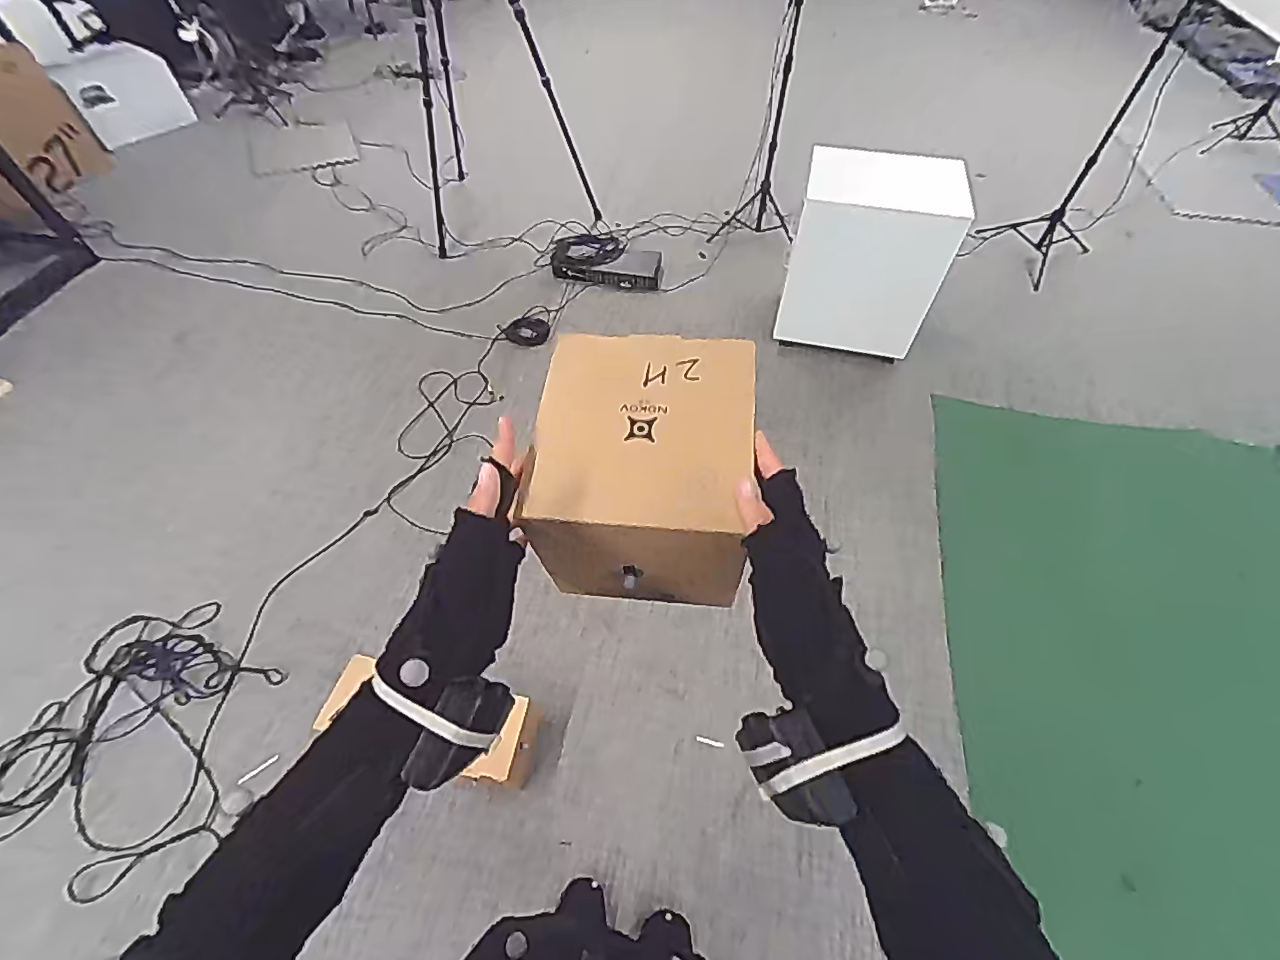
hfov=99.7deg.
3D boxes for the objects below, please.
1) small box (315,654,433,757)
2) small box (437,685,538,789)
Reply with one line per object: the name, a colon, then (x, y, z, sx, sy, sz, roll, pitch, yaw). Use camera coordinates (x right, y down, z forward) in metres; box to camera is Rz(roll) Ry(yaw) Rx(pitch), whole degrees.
small box: (-0.630, 0.551, 1.311, 0.168, 0.176, 0.179, 12, 54, 9)
small box: (-0.347, 0.607, 1.271, 0.168, 0.176, 0.179, 8, 55, 6)
